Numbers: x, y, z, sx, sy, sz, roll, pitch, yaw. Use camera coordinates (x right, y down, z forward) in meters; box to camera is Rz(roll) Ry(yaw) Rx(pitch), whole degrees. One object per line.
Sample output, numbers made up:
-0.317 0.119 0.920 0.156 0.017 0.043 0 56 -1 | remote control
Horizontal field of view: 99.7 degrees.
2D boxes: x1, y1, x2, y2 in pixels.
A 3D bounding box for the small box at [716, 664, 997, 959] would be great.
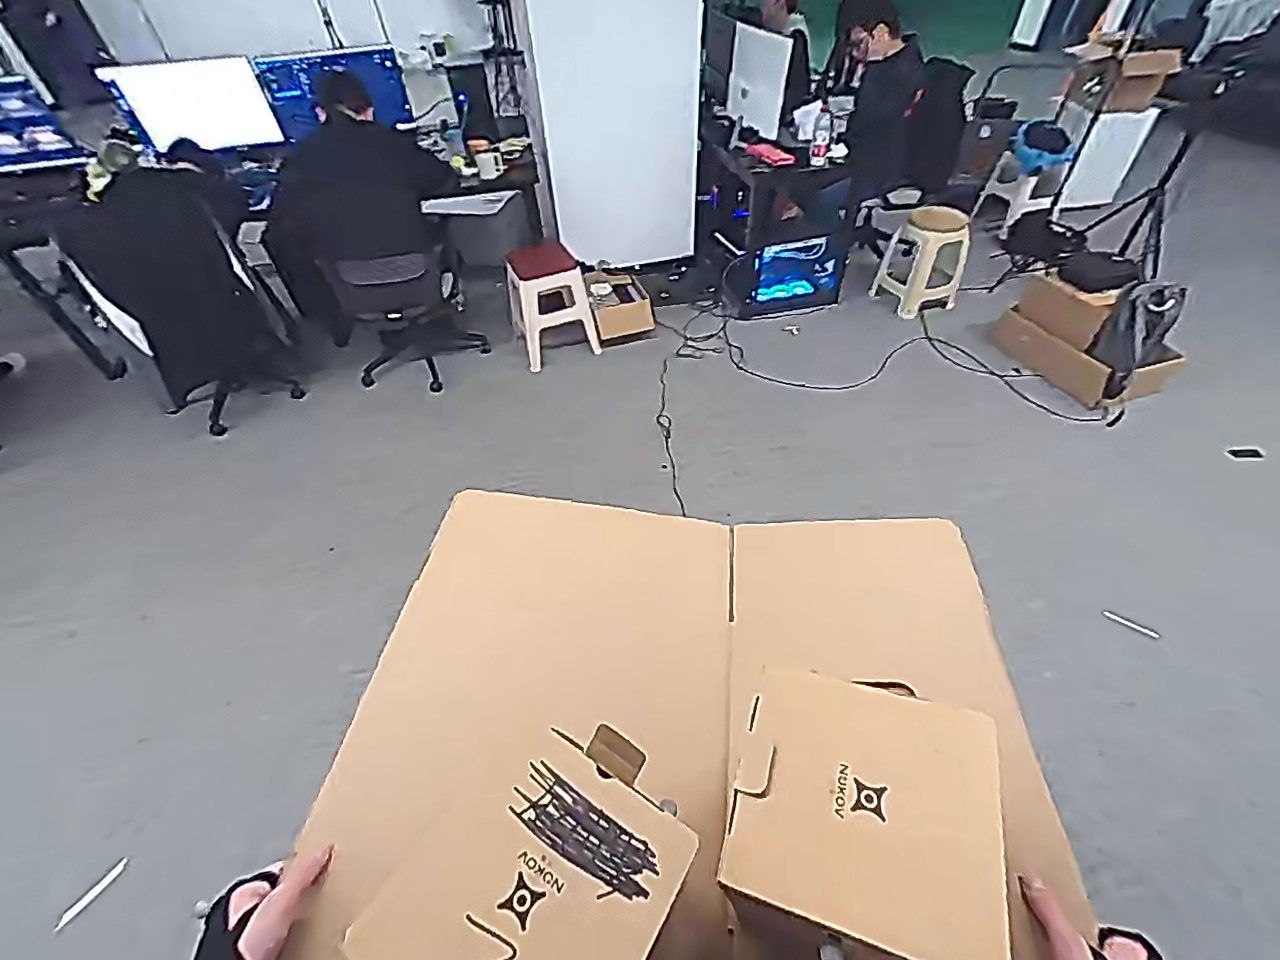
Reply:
0.178 0.285 0.457 0.179 0.176 0.168 6 50 23 | small box
